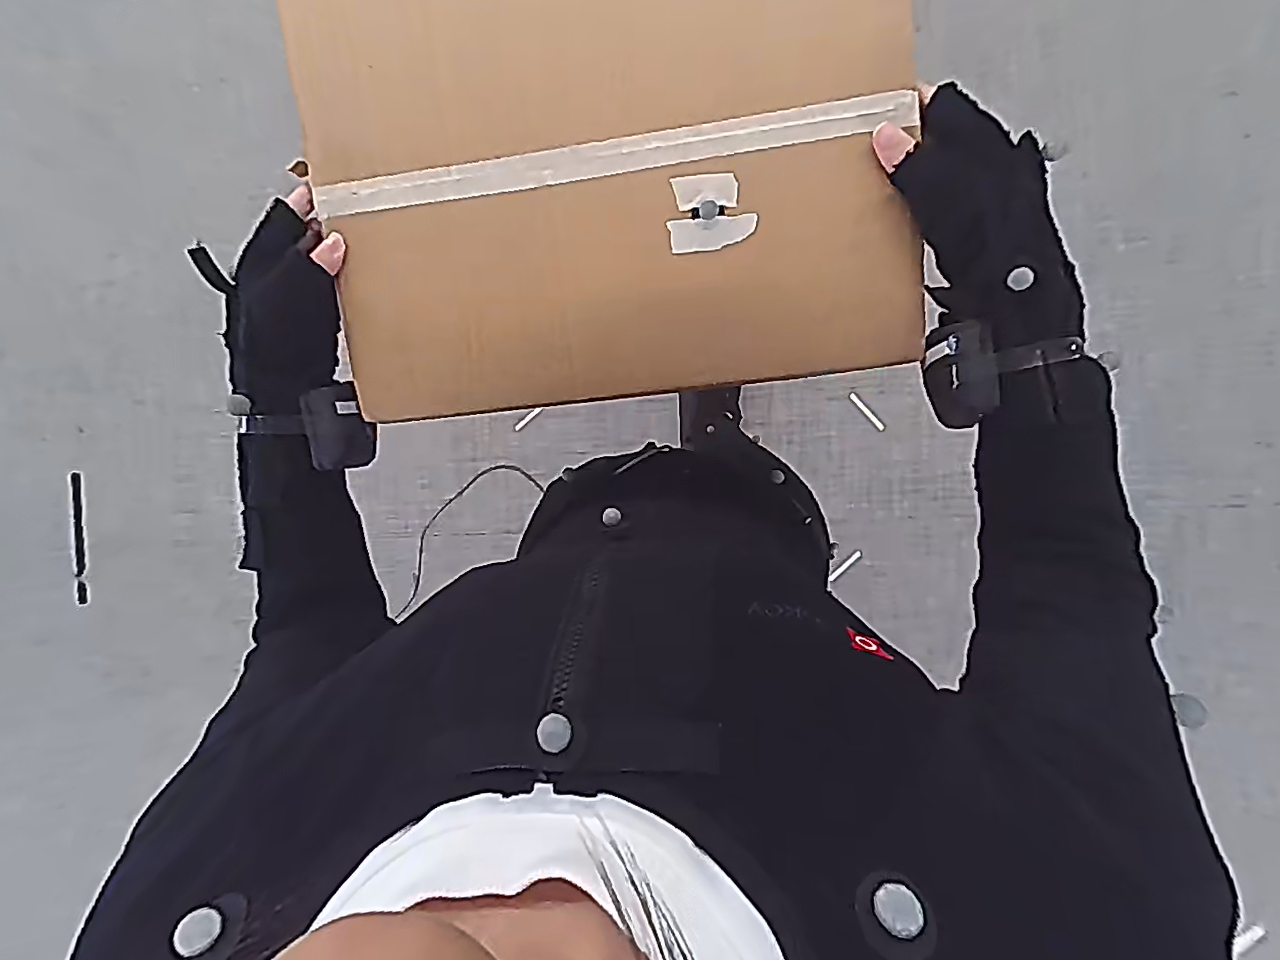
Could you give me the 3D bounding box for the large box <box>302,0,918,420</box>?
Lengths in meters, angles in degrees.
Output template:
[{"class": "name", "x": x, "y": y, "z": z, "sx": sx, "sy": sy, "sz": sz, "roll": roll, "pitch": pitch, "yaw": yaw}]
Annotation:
[{"class": "large box", "x": -0.011, "y": -0.244, "z": 0.522, "sx": 0.408, "sy": 0.320, "sz": 0.320, "roll": -7, "pitch": 100, "yaw": 5}]
